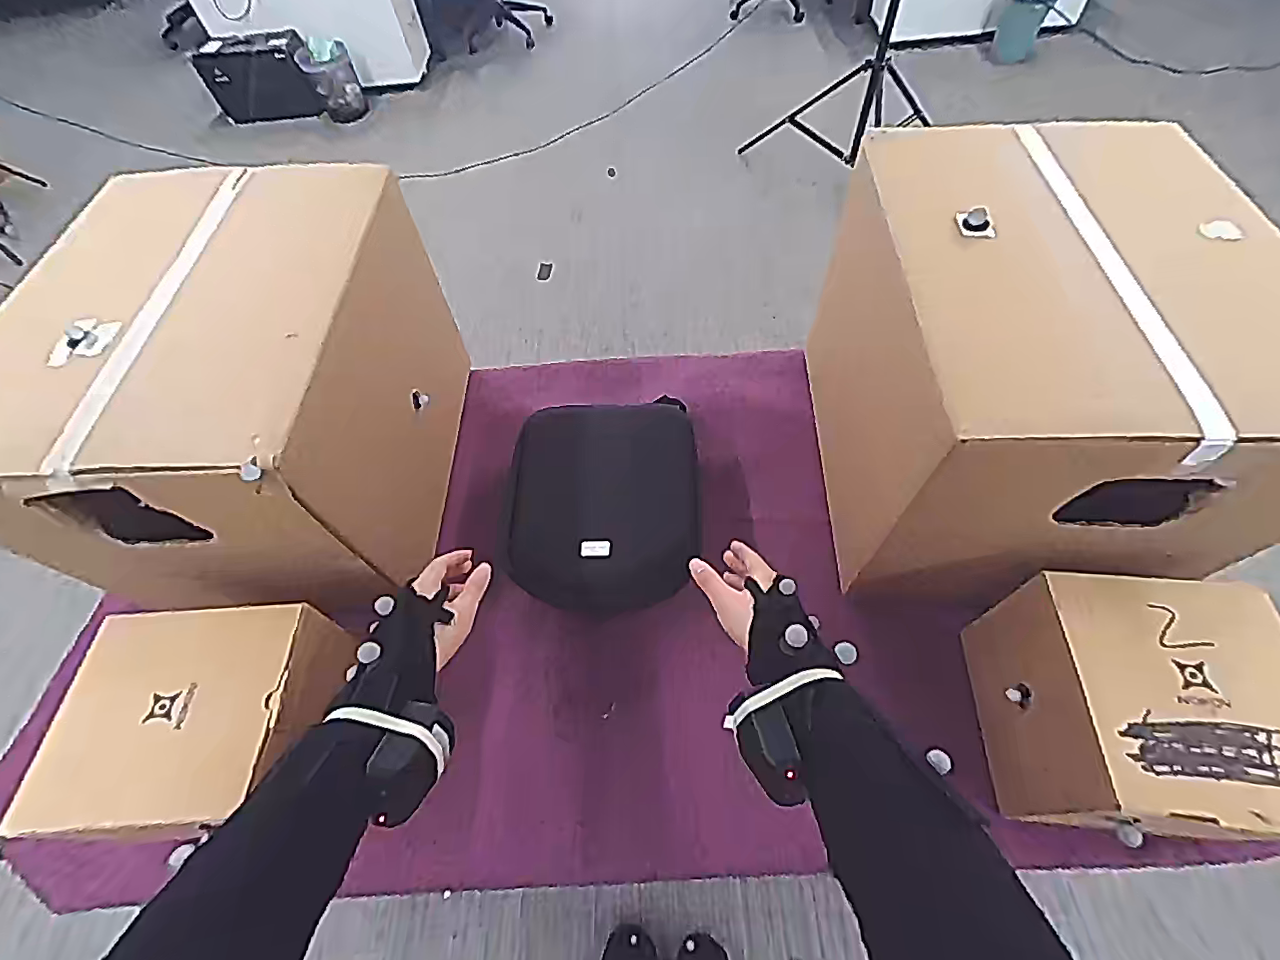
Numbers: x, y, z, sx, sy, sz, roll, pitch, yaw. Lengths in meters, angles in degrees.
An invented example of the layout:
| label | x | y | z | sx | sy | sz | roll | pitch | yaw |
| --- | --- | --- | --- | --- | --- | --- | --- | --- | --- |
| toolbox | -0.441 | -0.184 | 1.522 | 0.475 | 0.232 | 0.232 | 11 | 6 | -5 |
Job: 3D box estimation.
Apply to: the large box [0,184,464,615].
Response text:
| label | x | y | z | sx | sy | sz | roll | pitch | yaw |
| --- | --- | --- | --- | --- | --- | --- | --- | --- | --- |
| large box | -0.419 | -0.080 | 0.634 | 0.320 | 0.320 | 0.408 | -3 | 60 | 1 |

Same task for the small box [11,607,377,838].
| label | x | y | z | sx | sy | sz | roll | pitch | yaw |
| --- | --- | --- | --- | --- | --- | --- | --- | --- | --- |
| small box | -0.383 | 0.233 | 0.510 | 0.179 | 0.176 | 0.168 | -4 | 56 | -2 |
